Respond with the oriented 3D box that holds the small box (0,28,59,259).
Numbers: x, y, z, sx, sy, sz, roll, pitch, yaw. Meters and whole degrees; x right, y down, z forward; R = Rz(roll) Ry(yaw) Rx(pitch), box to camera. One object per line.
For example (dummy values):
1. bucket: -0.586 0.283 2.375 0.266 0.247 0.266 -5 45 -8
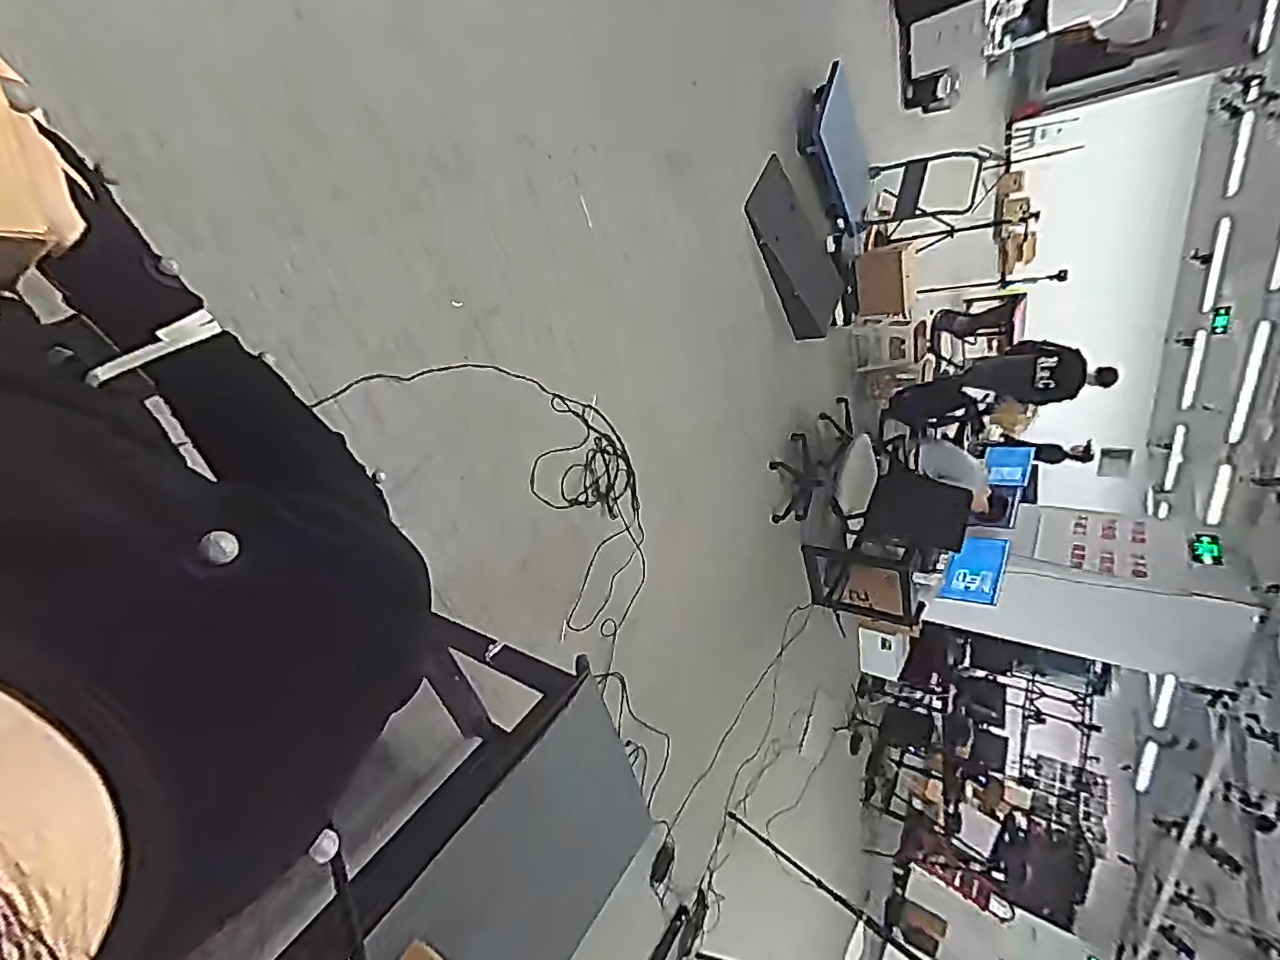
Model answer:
1. small box: -0.407 -0.197 0.226 0.168 0.176 0.179 -26 115 -53
